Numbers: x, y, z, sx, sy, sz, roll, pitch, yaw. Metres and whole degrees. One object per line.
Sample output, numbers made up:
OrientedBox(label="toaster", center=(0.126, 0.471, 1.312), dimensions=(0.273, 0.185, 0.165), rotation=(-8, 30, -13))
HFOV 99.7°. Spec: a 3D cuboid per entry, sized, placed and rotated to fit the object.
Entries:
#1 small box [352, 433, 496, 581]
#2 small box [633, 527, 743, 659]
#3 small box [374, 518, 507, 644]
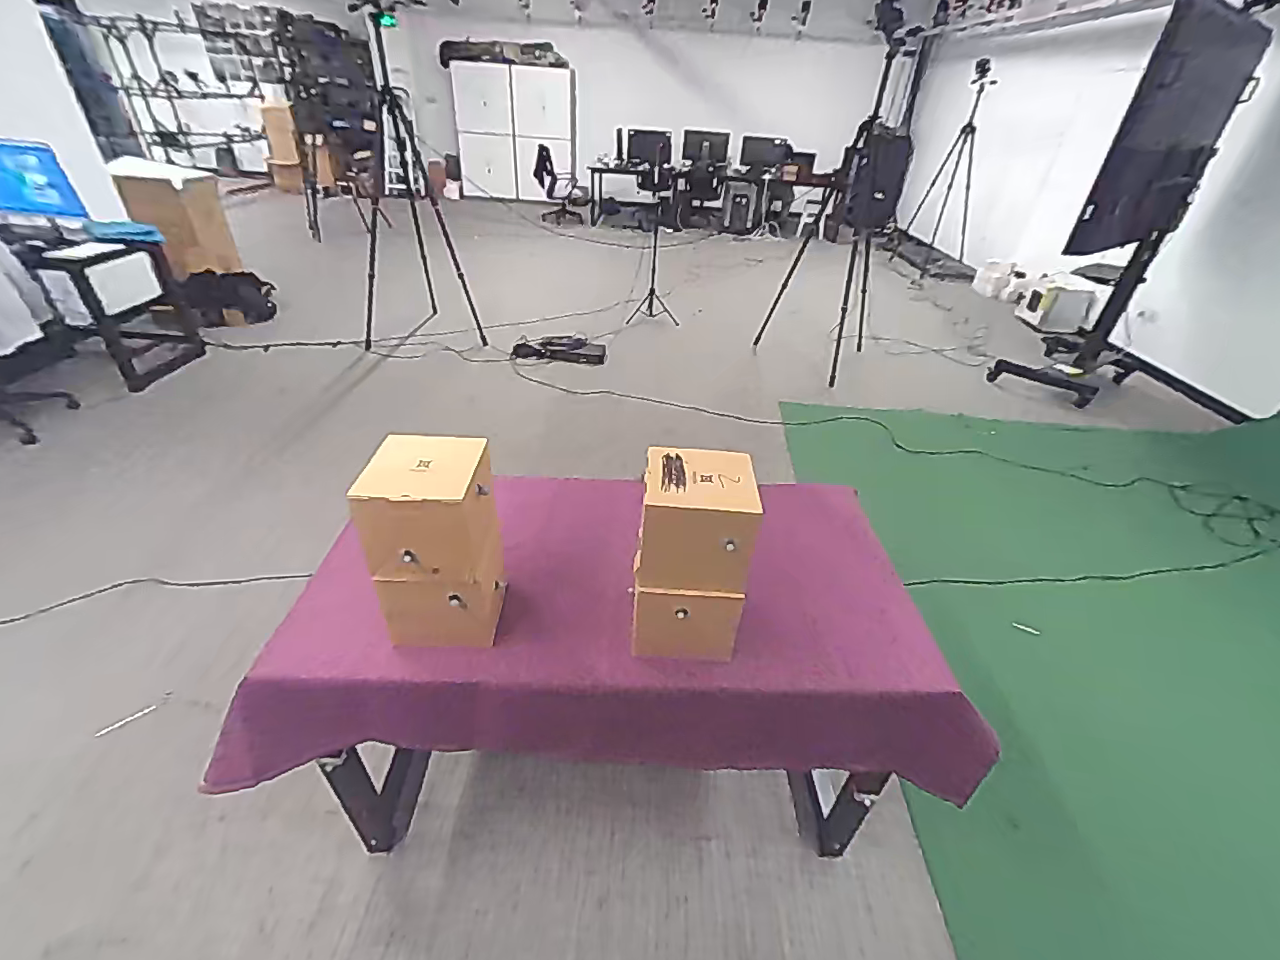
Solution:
OrientedBox(label="small box", center=(-0.337, 0.042, 0.886), dimensions=(0.168, 0.176, 0.179), rotation=(2, 36, -3))
OrientedBox(label="small box", center=(0.079, 0.205, 0.979), dimensions=(0.179, 0.176, 0.168), rotation=(4, 35, -1))
OrientedBox(label="small box", center=(-0.344, 0.179, 0.975), dimensions=(0.179, 0.176, 0.168), rotation=(3, 34, -3))
